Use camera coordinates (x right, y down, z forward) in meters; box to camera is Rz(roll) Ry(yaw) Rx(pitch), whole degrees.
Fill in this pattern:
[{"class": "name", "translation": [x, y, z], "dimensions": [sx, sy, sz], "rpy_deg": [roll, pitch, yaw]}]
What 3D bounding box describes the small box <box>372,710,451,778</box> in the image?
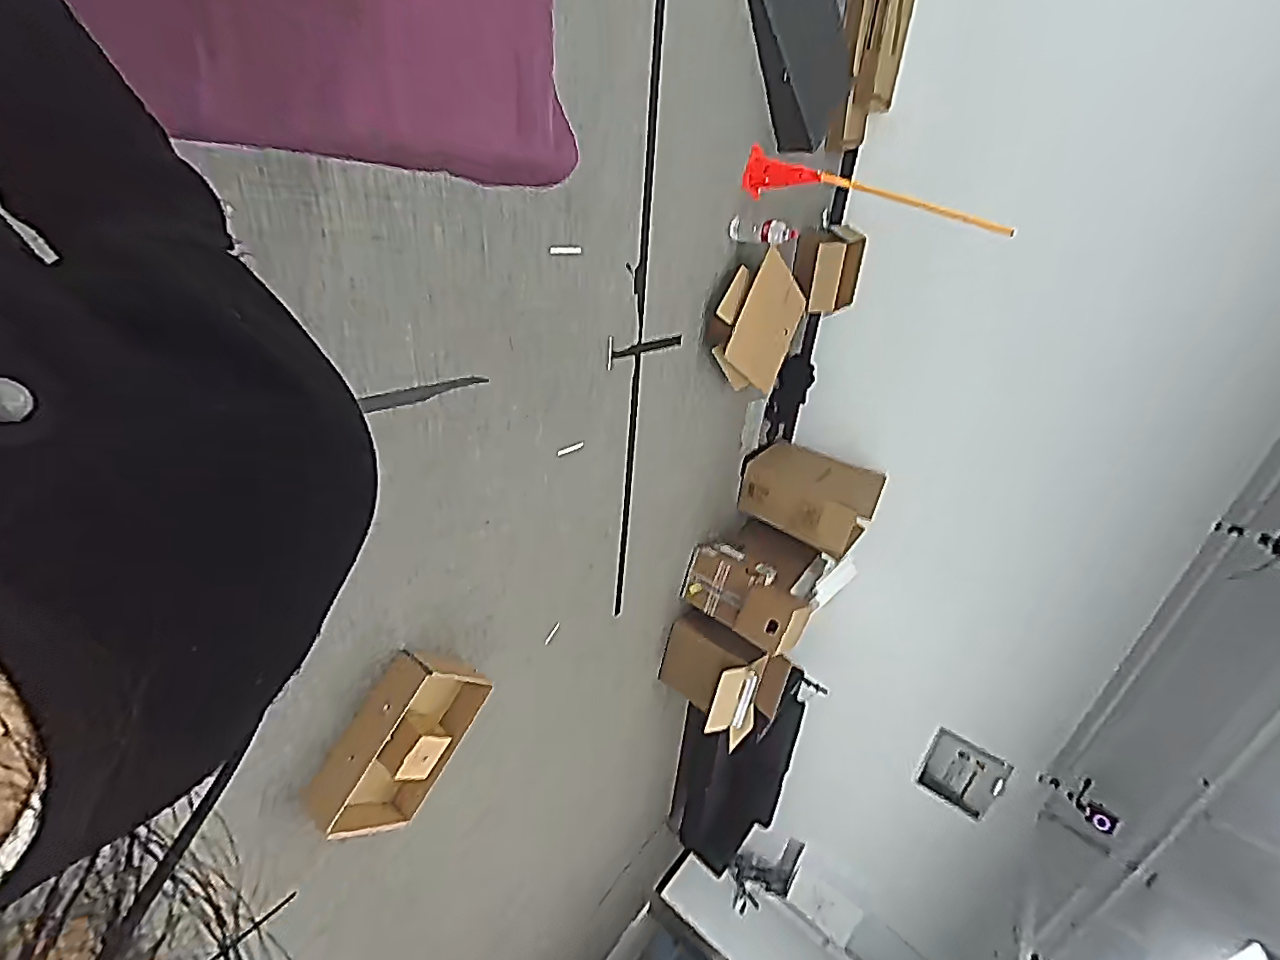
[{"class": "small box", "translation": [-0.862, 0.993, 2.039], "dimensions": [0.168, 0.176, 0.179], "rpy_deg": [-58, 148, -14]}]
